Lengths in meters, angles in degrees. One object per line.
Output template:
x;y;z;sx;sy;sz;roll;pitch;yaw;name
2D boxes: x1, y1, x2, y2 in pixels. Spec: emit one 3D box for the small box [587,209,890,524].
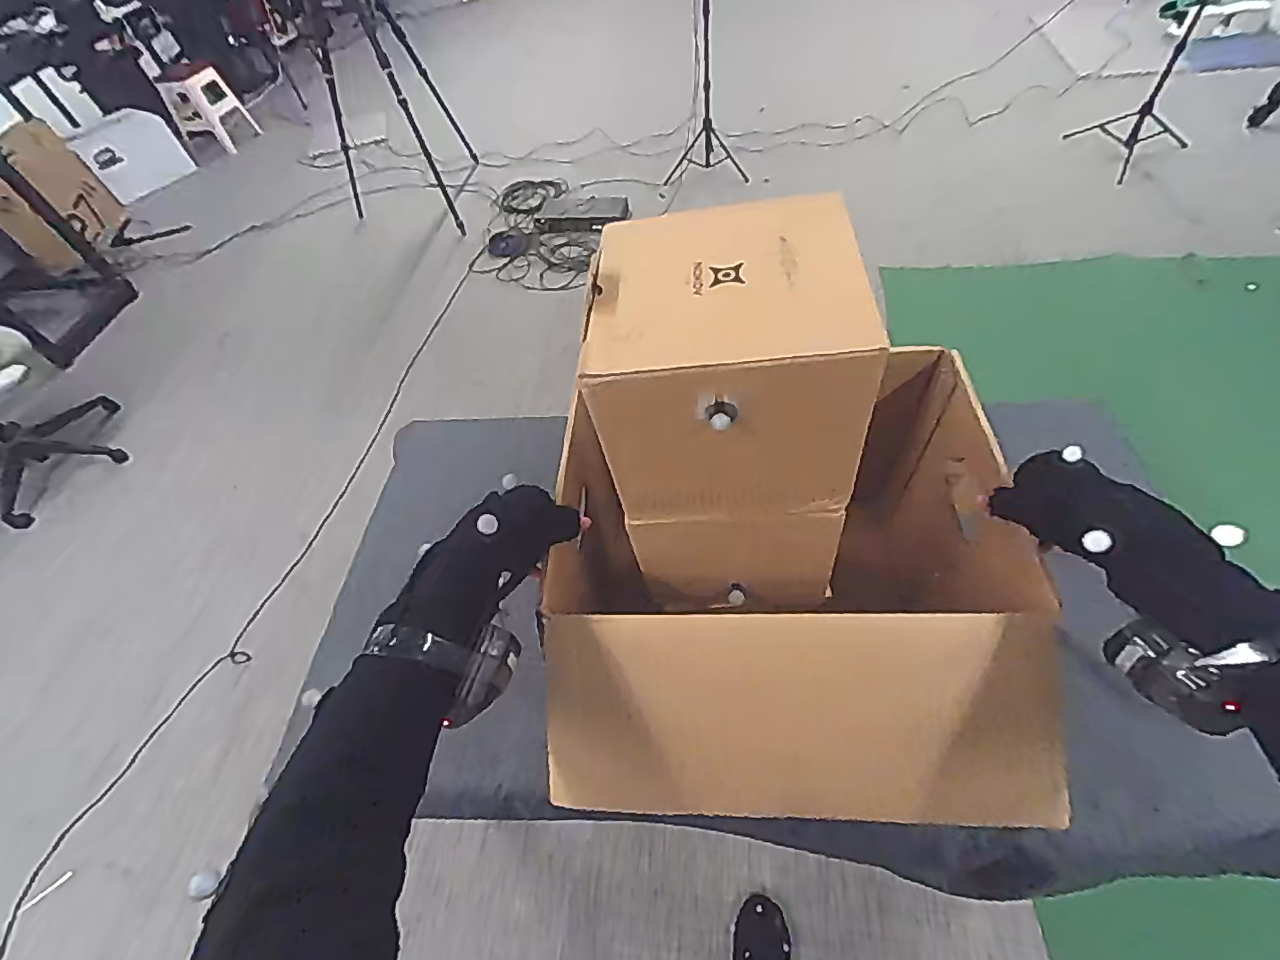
0.069;-0.076;0.419;0.179;0.176;0.168;-4;55;8;small box
